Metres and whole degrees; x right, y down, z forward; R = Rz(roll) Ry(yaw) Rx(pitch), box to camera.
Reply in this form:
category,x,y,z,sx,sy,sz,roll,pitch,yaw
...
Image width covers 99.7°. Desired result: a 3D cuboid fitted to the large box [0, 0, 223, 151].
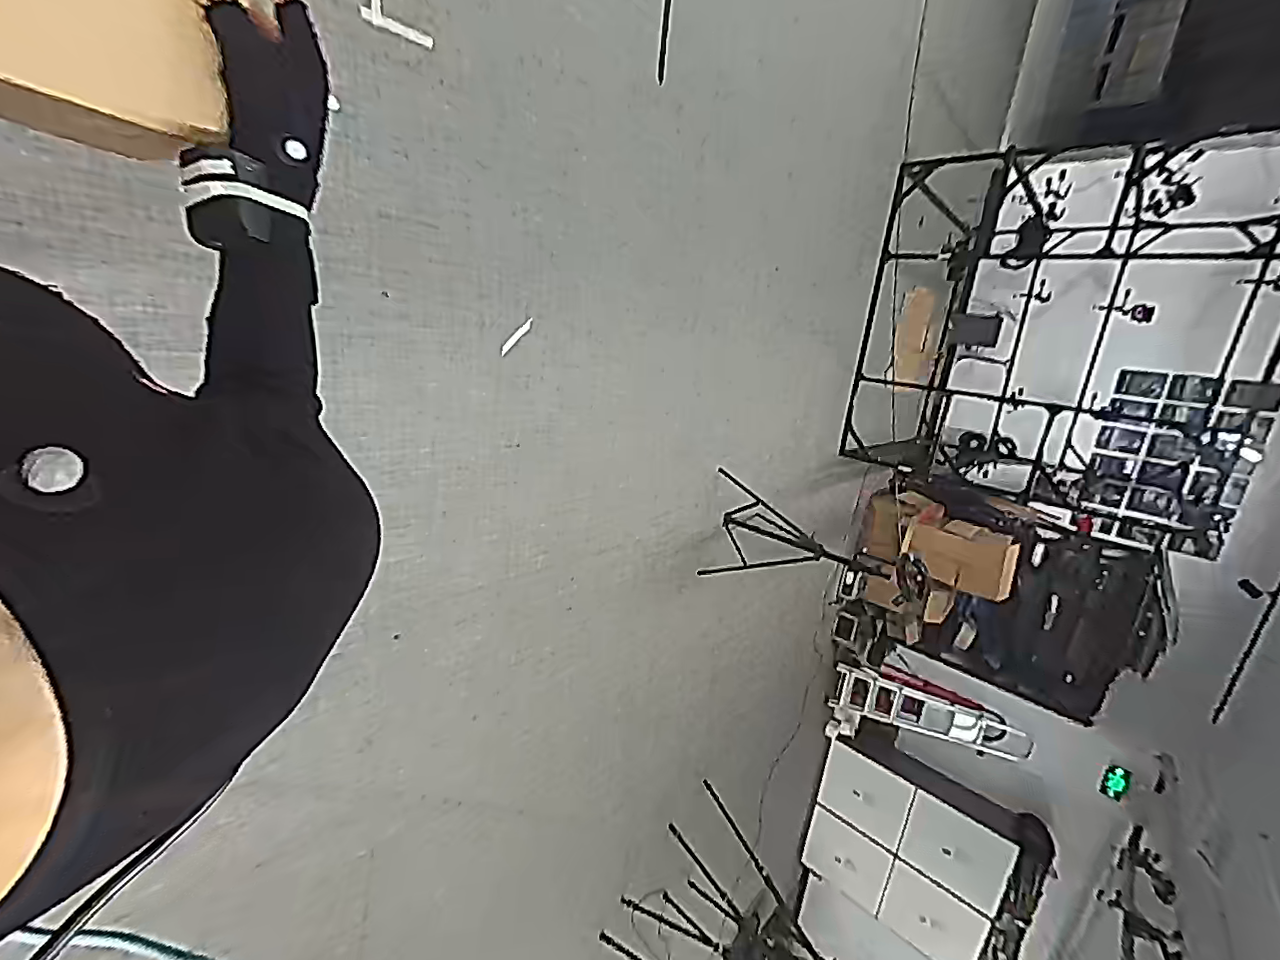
category,x,y,z,sx,sy,sz,roll,pitch,yaw
large box,-0.547,-0.446,0.327,0.408,0.320,0.320,-8,115,-52
